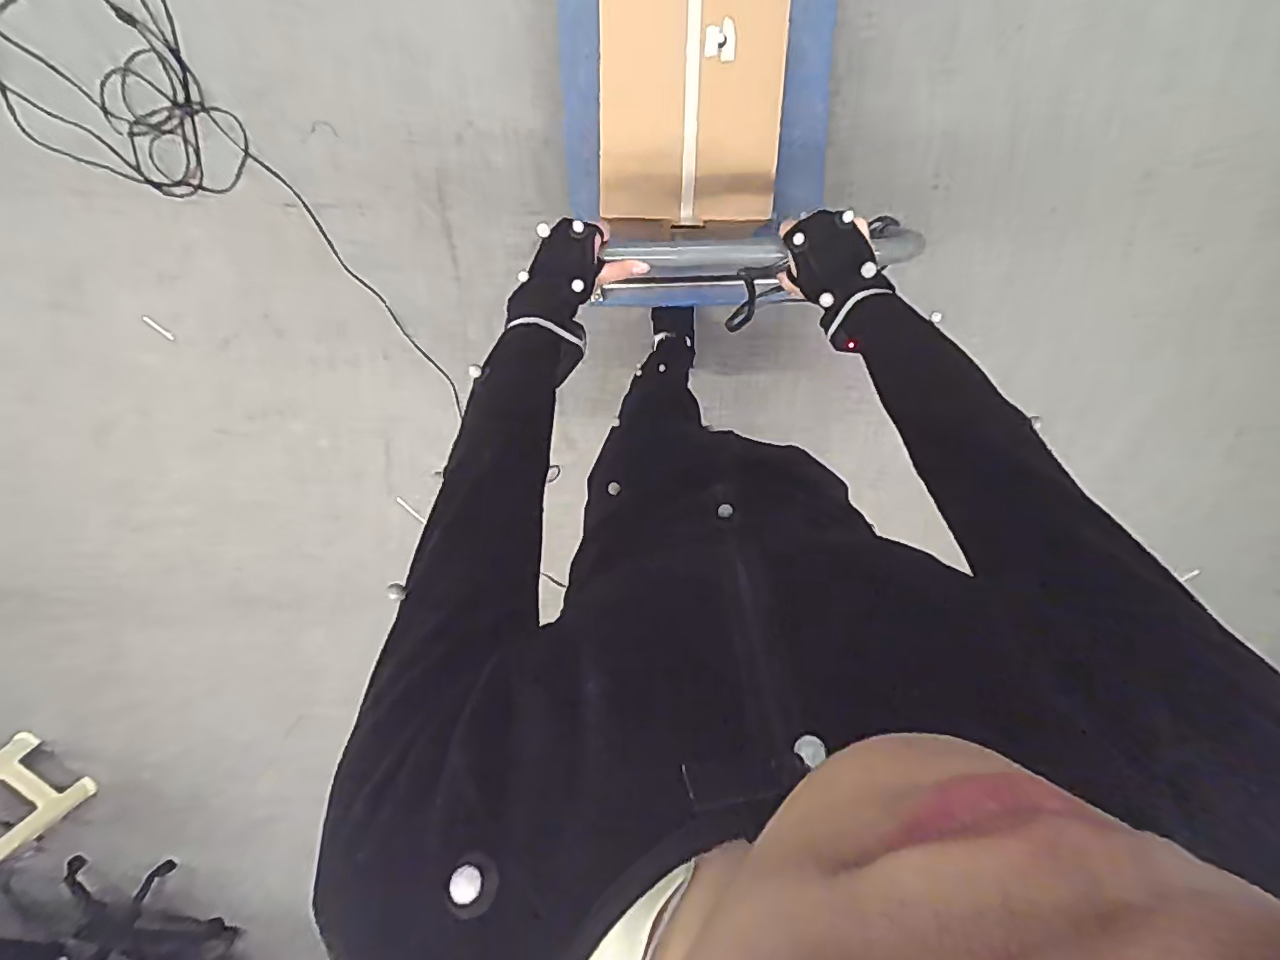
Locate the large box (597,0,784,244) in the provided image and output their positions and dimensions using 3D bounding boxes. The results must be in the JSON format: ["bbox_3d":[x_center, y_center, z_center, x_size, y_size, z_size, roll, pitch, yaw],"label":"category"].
[{"bbox_3d":[0.091,-0.702,1.073,0.320,0.320,0.408,2,107,2],"label":"large box"}]
